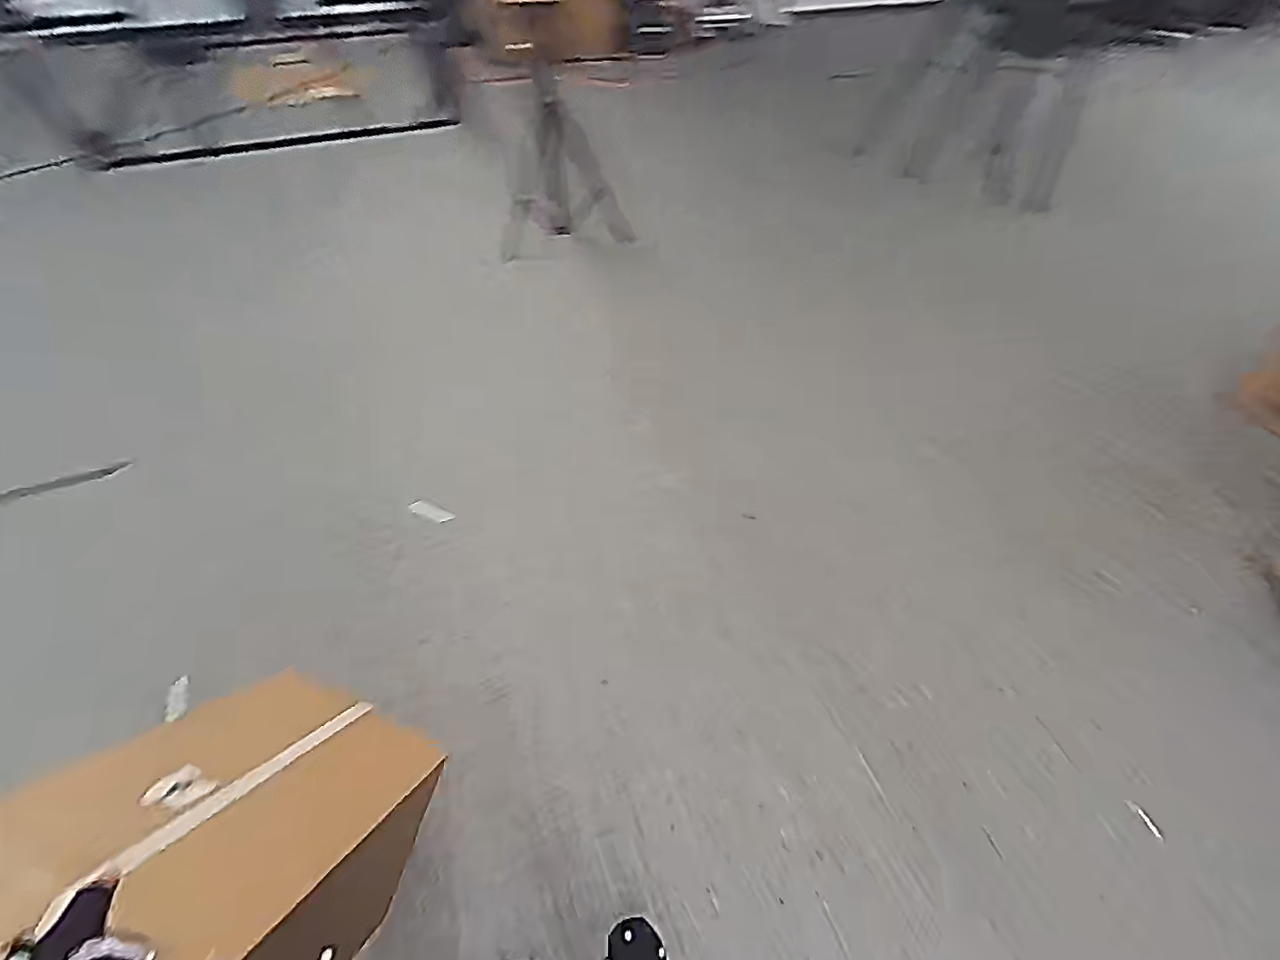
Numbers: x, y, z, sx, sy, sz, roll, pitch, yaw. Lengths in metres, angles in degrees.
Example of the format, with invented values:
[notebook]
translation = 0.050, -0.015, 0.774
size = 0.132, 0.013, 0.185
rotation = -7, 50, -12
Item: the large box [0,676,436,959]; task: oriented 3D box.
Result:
[large box]
translation = -0.545, 0.531, 0.699
size = 0.320, 0.408, 0.320
rotation = 23, 96, 9
